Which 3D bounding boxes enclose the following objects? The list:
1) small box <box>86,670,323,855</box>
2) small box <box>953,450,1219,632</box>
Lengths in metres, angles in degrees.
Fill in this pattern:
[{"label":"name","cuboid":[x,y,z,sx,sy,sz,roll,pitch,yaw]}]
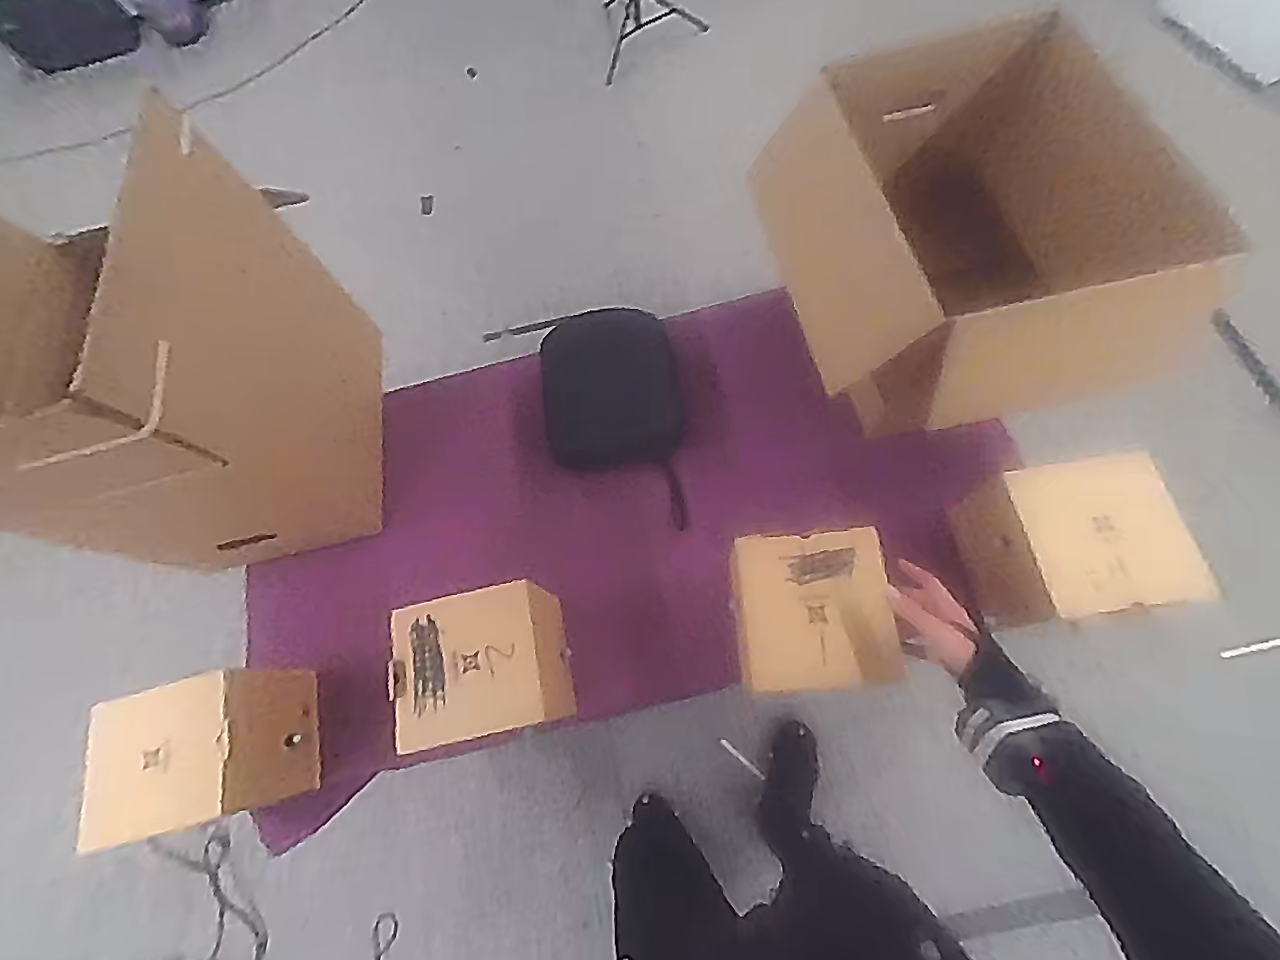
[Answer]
[{"label":"small box","cuboid":[-0.557,0.361,0.716,0.179,0.176,0.168,-16,69,0]},{"label":"small box","cuboid":[0.527,0.084,0.677,0.168,0.176,0.179,-10,69,5]}]
